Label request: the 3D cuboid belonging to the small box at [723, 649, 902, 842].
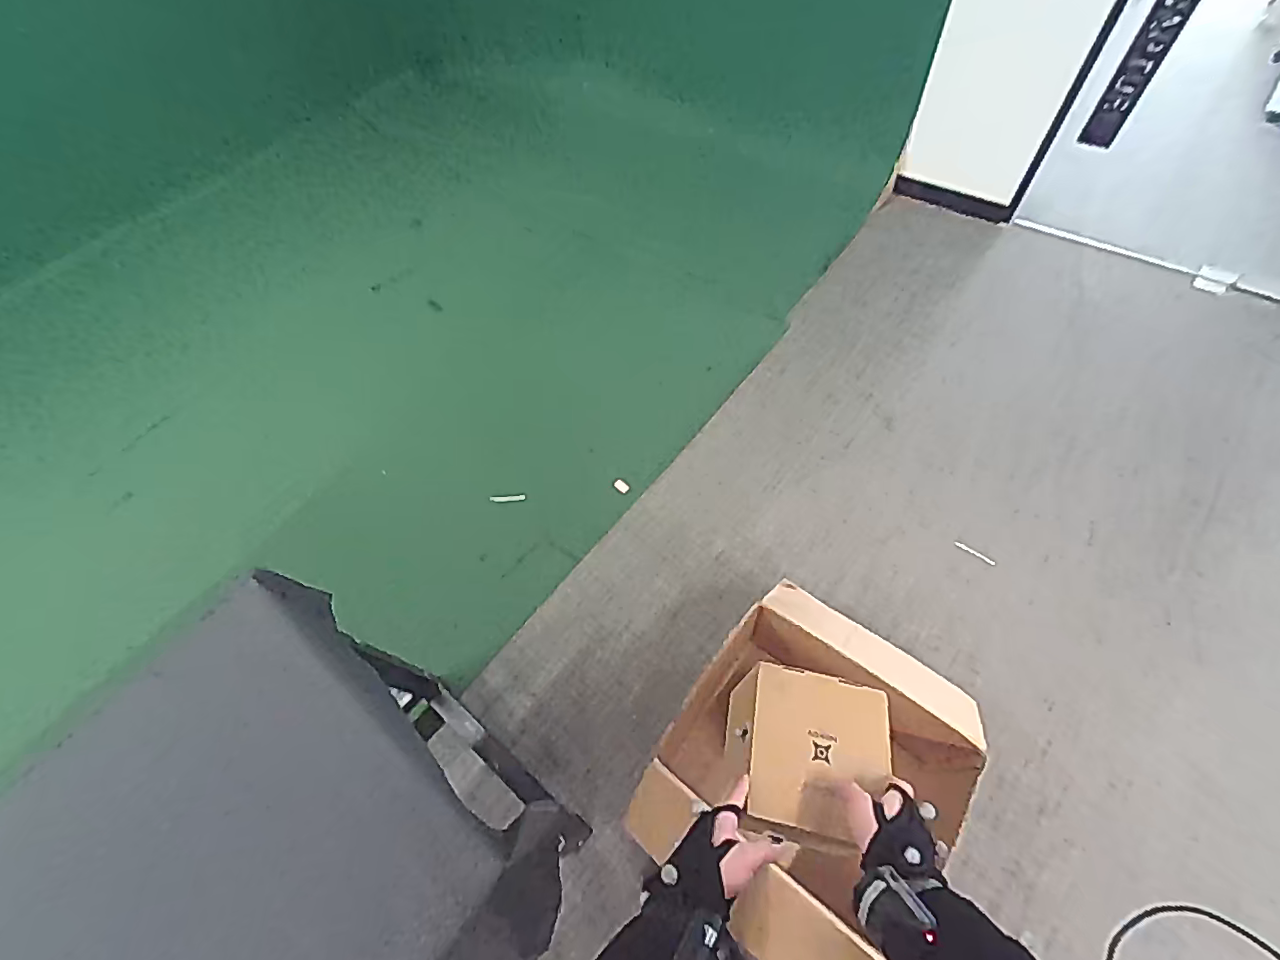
[{"bbox_3d":[0.209,0.342,0.690,0.168,0.176,0.179,12,56,3],"label":"small box"}]
